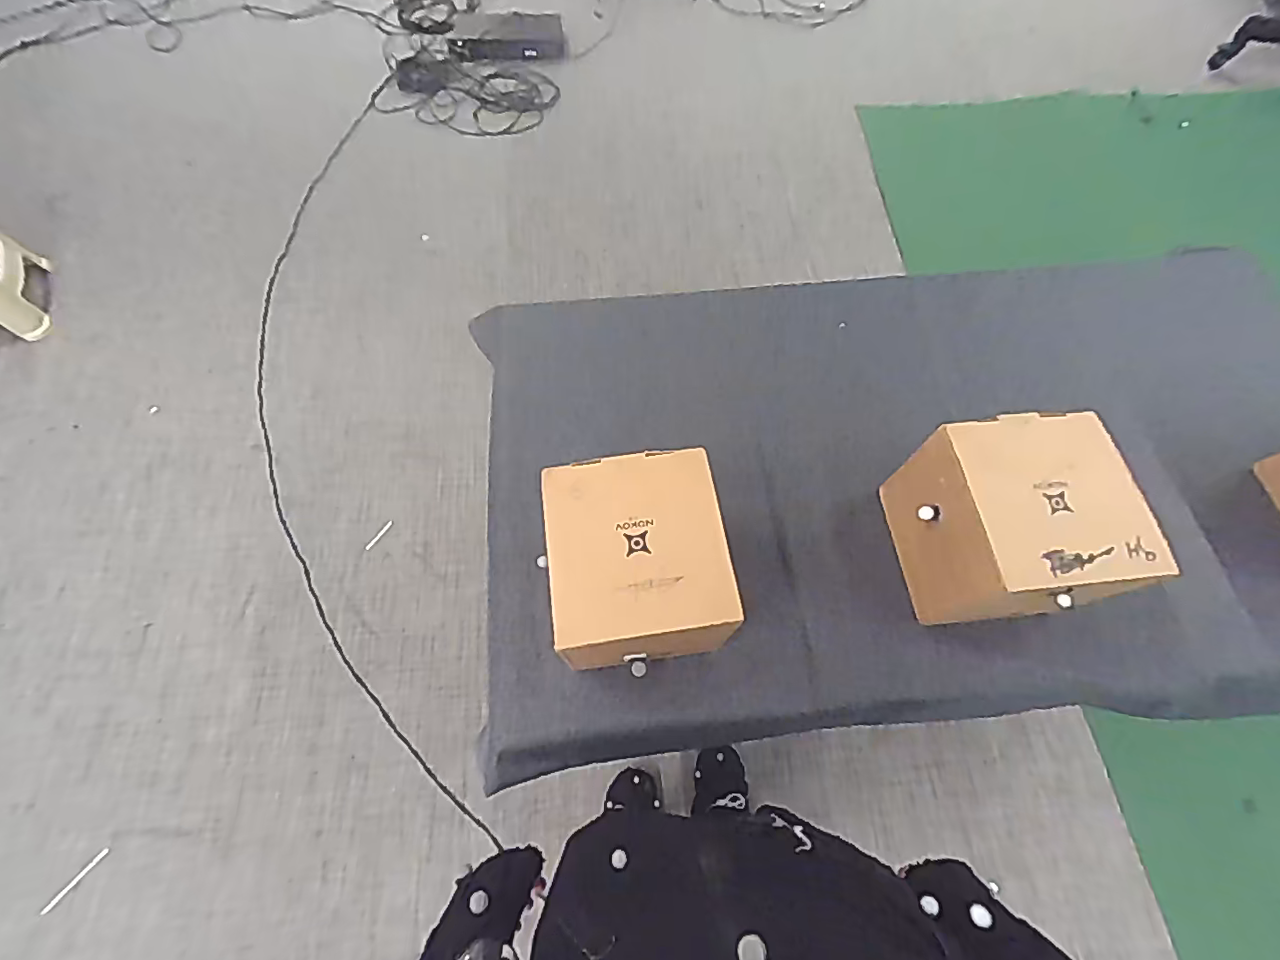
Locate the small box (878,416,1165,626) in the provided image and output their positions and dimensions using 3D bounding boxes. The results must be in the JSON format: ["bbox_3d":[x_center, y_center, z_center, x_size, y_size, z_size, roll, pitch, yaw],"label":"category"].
[{"bbox_3d":[0.391,0.051,0.599,0.168,0.176,0.179,-5,64,-3],"label":"small box"}]

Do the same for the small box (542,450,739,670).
[{"bbox_3d":[-0.006,0.091,0.575,0.168,0.176,0.179,-9,65,-4],"label":"small box"}]
